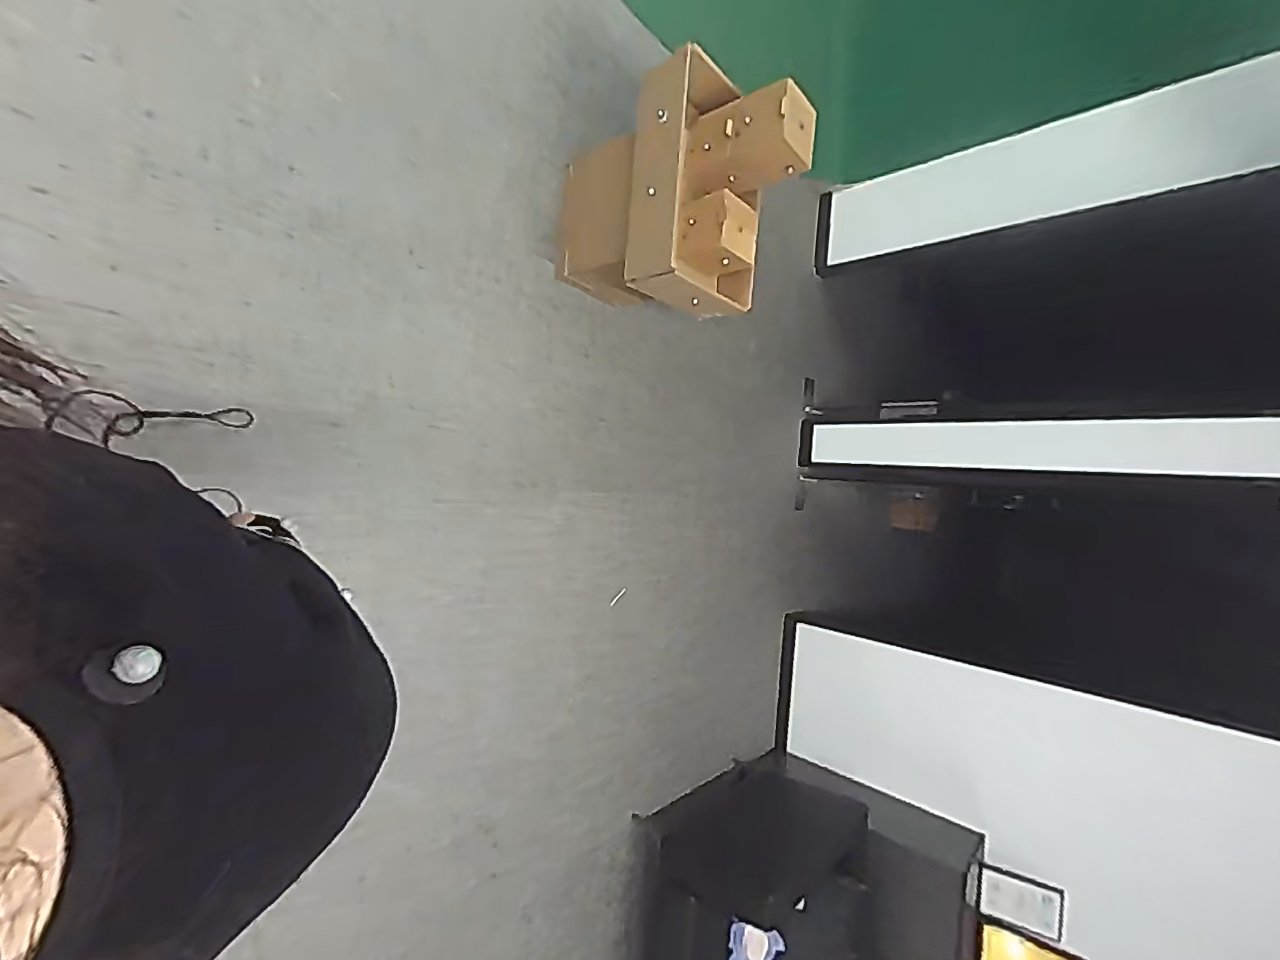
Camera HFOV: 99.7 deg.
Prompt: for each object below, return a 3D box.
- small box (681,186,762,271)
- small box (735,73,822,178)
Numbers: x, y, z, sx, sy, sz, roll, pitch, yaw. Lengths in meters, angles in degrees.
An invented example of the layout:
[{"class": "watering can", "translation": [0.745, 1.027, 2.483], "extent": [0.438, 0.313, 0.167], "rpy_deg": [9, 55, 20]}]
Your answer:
[{"class": "small box", "translation": [0.247, -0.749, 1.636], "extent": [0.179, 0.176, 0.168], "rpy_deg": [4, 89, -46]}, {"class": "small box", "translation": [0.391, -0.985, 1.526], "extent": [0.179, 0.176, 0.168], "rpy_deg": [5, 90, -47]}]
